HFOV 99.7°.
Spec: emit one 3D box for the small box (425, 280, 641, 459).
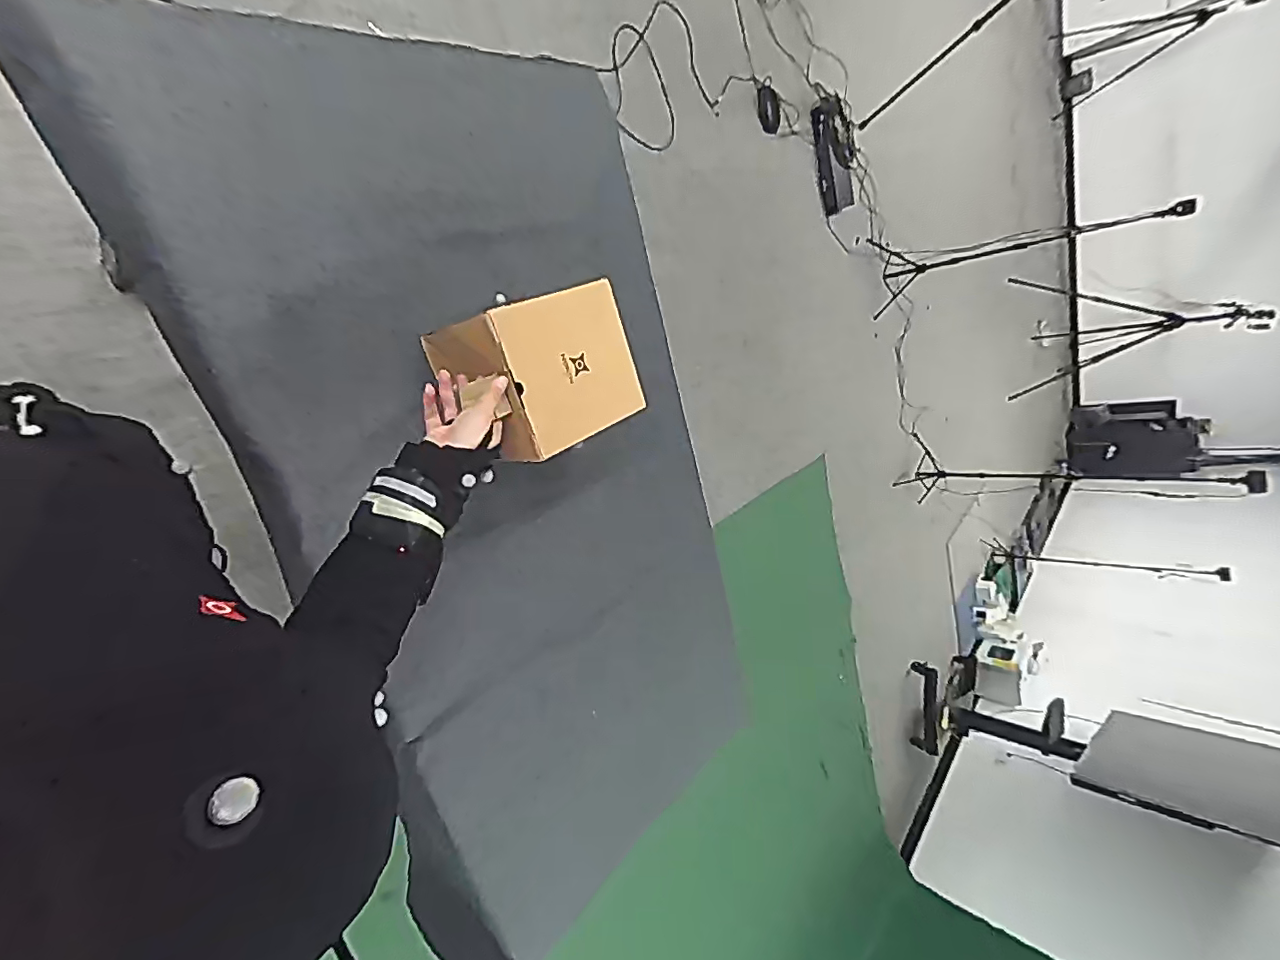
[{"bbox_3d":[-0.133,-0.137,0.679,0.179,0.176,0.168,-34,116,-37],"label":"small box"}]
